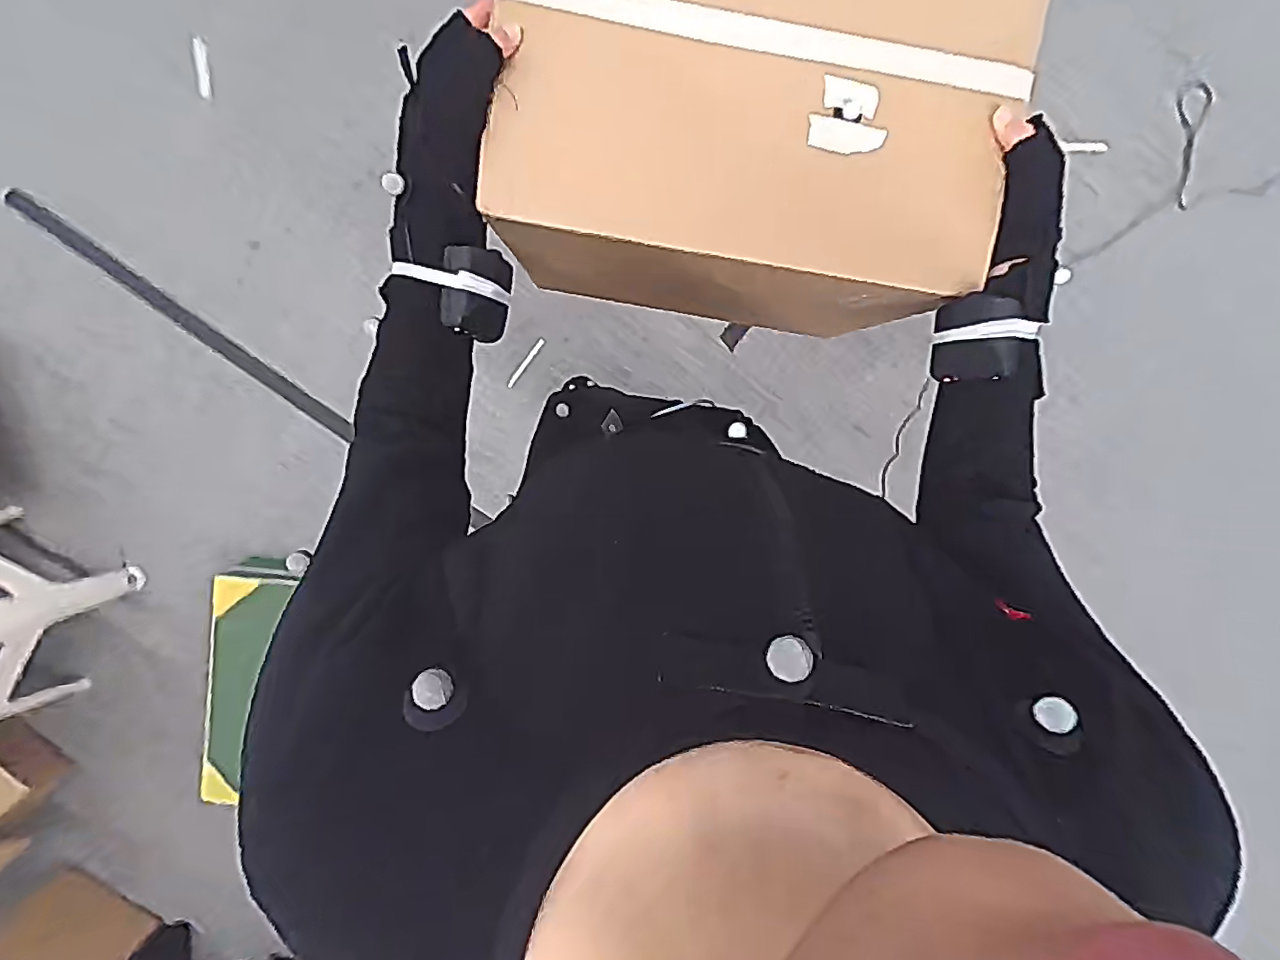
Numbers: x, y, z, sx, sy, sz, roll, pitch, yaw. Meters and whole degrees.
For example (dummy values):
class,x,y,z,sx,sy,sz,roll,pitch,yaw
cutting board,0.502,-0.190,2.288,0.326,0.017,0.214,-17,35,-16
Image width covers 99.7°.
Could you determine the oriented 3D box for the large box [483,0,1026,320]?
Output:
class,x,y,z,sx,sy,sz,roll,pitch,yaw
large box,0.081,-0.363,0.556,0.408,0.320,0.320,7,100,-5
